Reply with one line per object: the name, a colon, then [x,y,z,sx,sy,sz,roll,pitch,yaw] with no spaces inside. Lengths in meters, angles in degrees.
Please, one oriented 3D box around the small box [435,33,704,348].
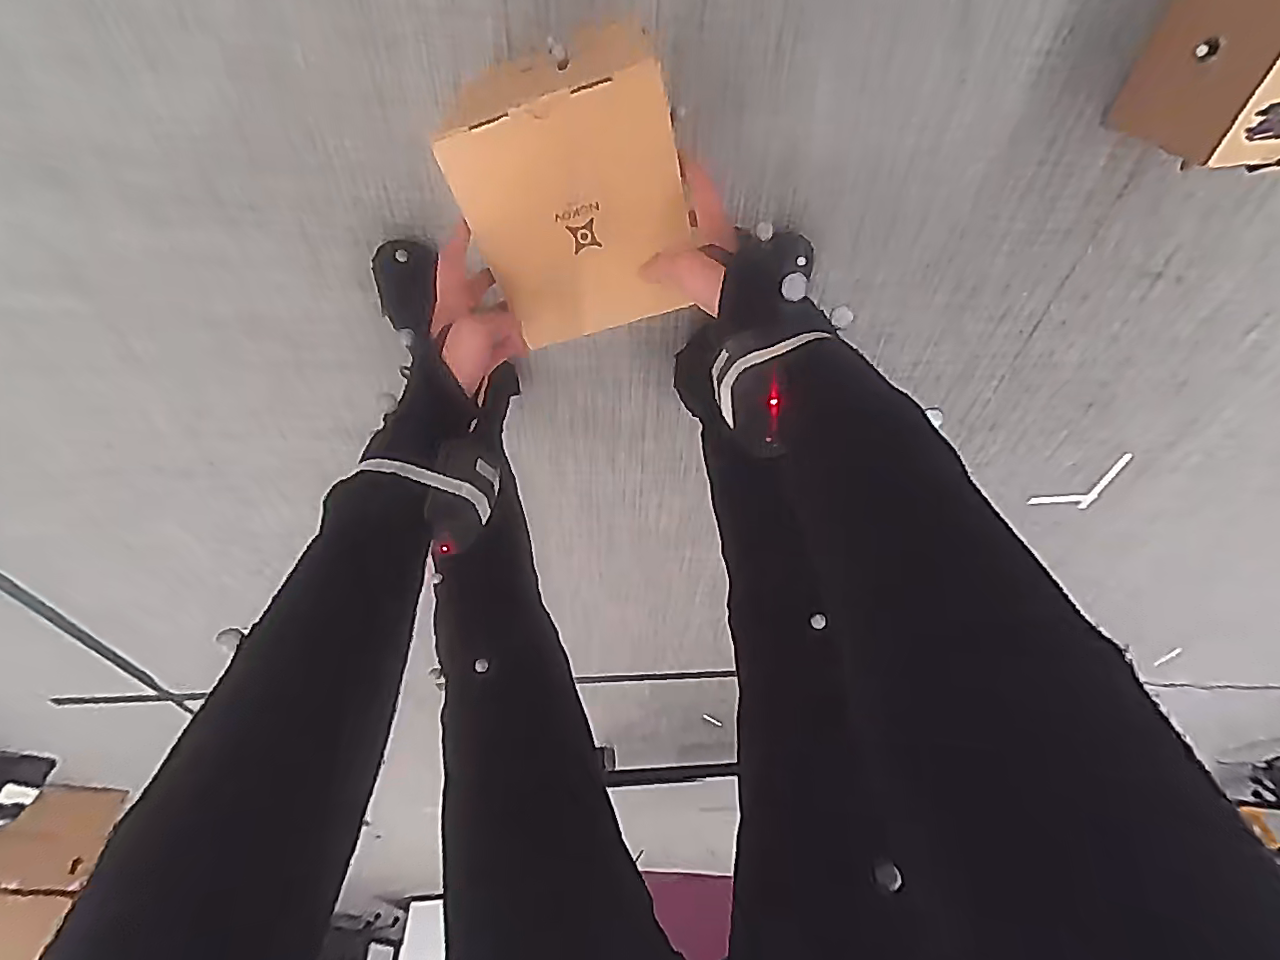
small box: [-0.047,-0.250,0.474,0.168,0.176,0.179,-13,135,8]
